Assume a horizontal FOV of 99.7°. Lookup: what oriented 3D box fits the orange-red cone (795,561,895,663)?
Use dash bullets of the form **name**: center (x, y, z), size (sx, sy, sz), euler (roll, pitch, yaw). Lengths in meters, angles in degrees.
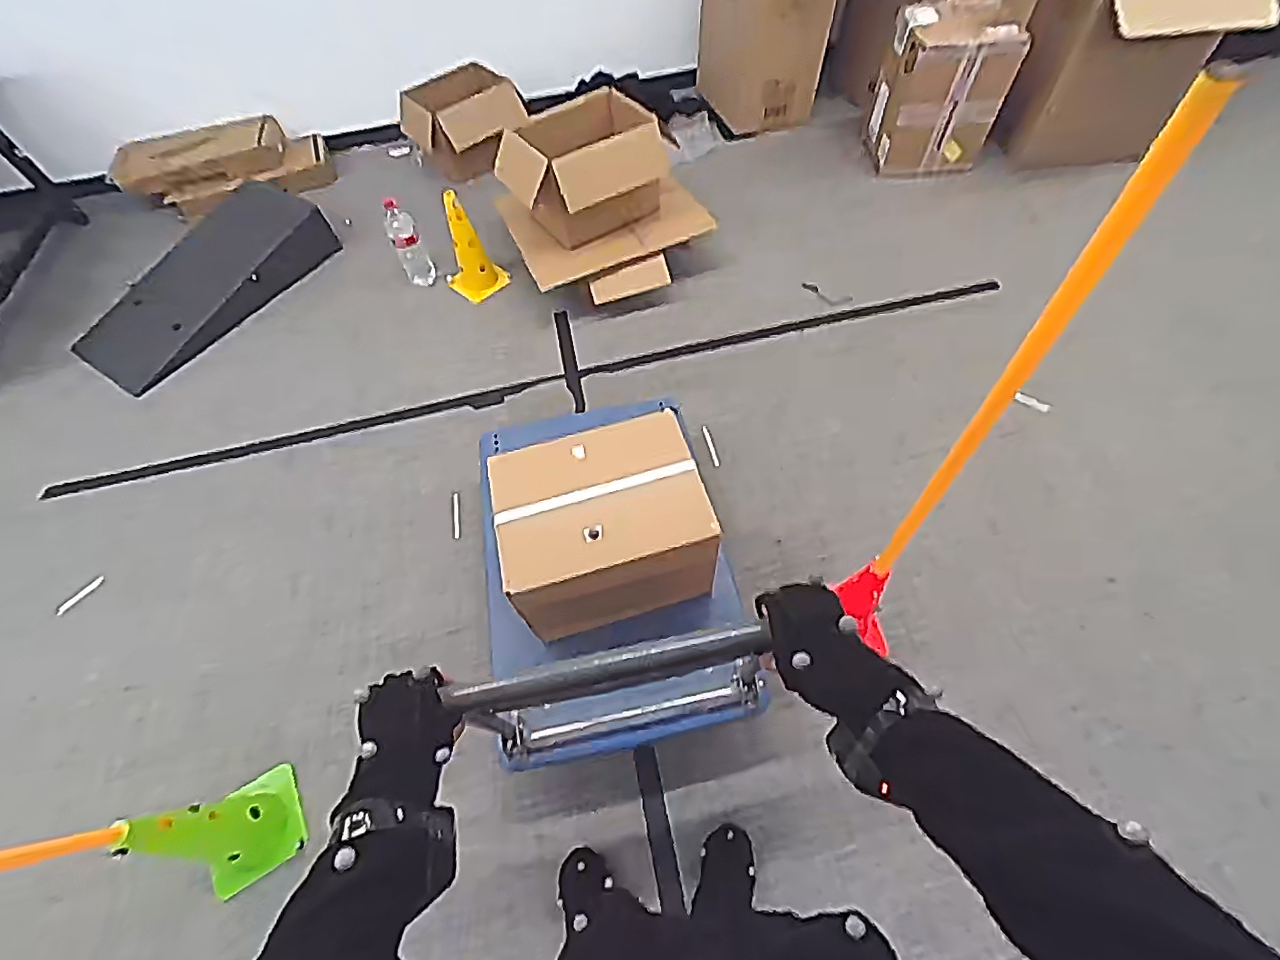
- **orange-red cone**: center (0.495, 0.266, 1.213), size (0.199, 0.360, 0.198), euler (-6, 59, -1)
